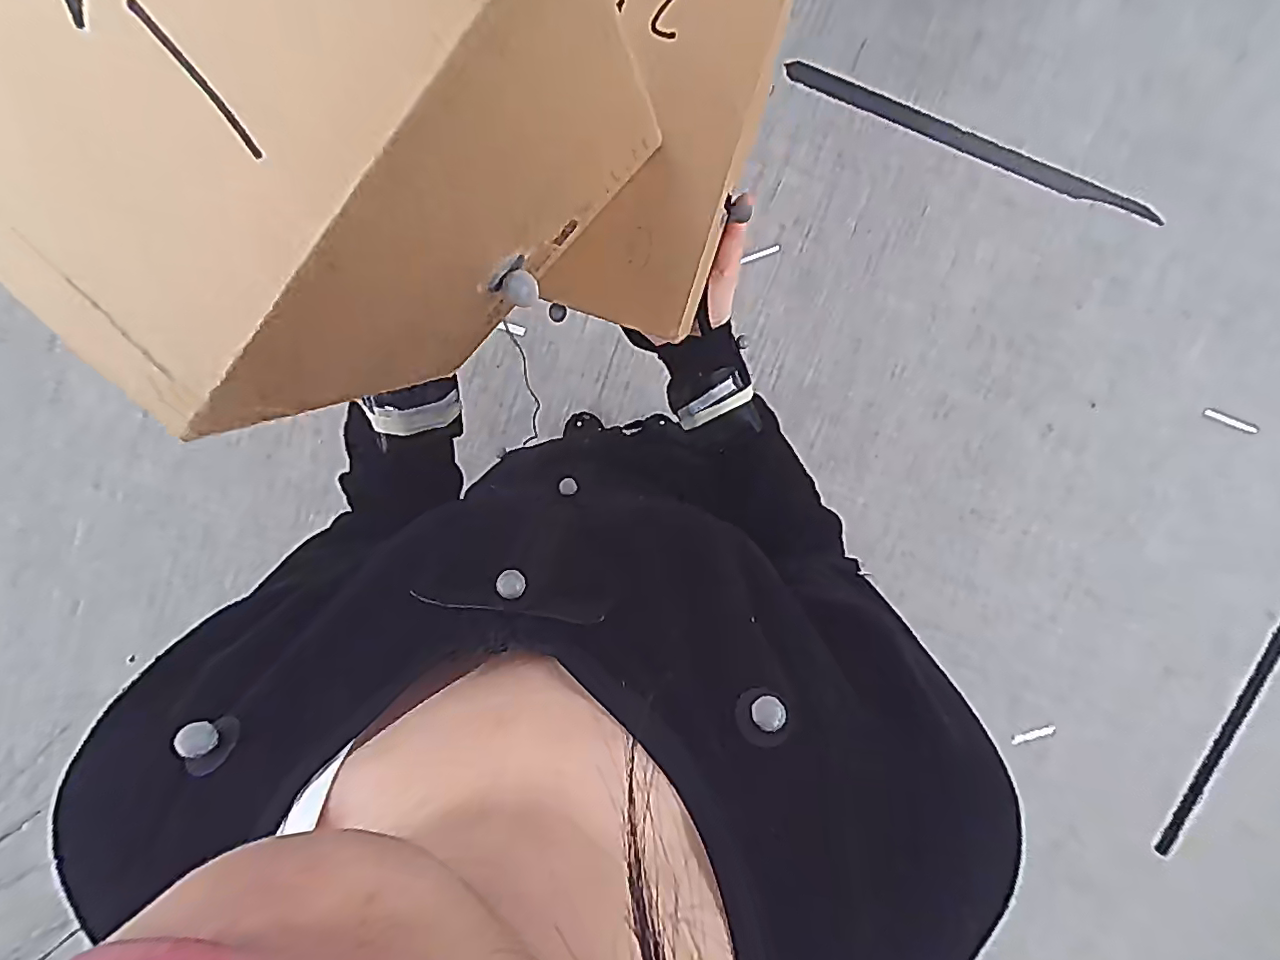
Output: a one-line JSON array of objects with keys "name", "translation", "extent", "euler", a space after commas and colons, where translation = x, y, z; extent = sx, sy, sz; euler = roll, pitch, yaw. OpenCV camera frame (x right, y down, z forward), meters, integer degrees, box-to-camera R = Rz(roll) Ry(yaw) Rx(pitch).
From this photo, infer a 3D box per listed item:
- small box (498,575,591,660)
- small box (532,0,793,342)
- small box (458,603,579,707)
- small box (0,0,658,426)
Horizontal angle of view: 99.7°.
[{"name": "small box", "translation": [-0.197, 0.295, 0.983], "extent": [0.168, 0.176, 0.179], "euler": [25, 96, -2]}, {"name": "small box", "translation": [-0.020, -0.199, 0.339], "extent": [0.168, 0.176, 0.179], "euler": [18, 107, 1]}, {"name": "small box", "translation": [-0.200, 0.313, 0.821], "extent": [0.168, 0.176, 0.179], "euler": [23, 98, -3]}, {"name": "small box", "translation": [-0.112, -0.148, 0.194], "extent": [0.168, 0.176, 0.179], "euler": [-41, 99, 18]}]
